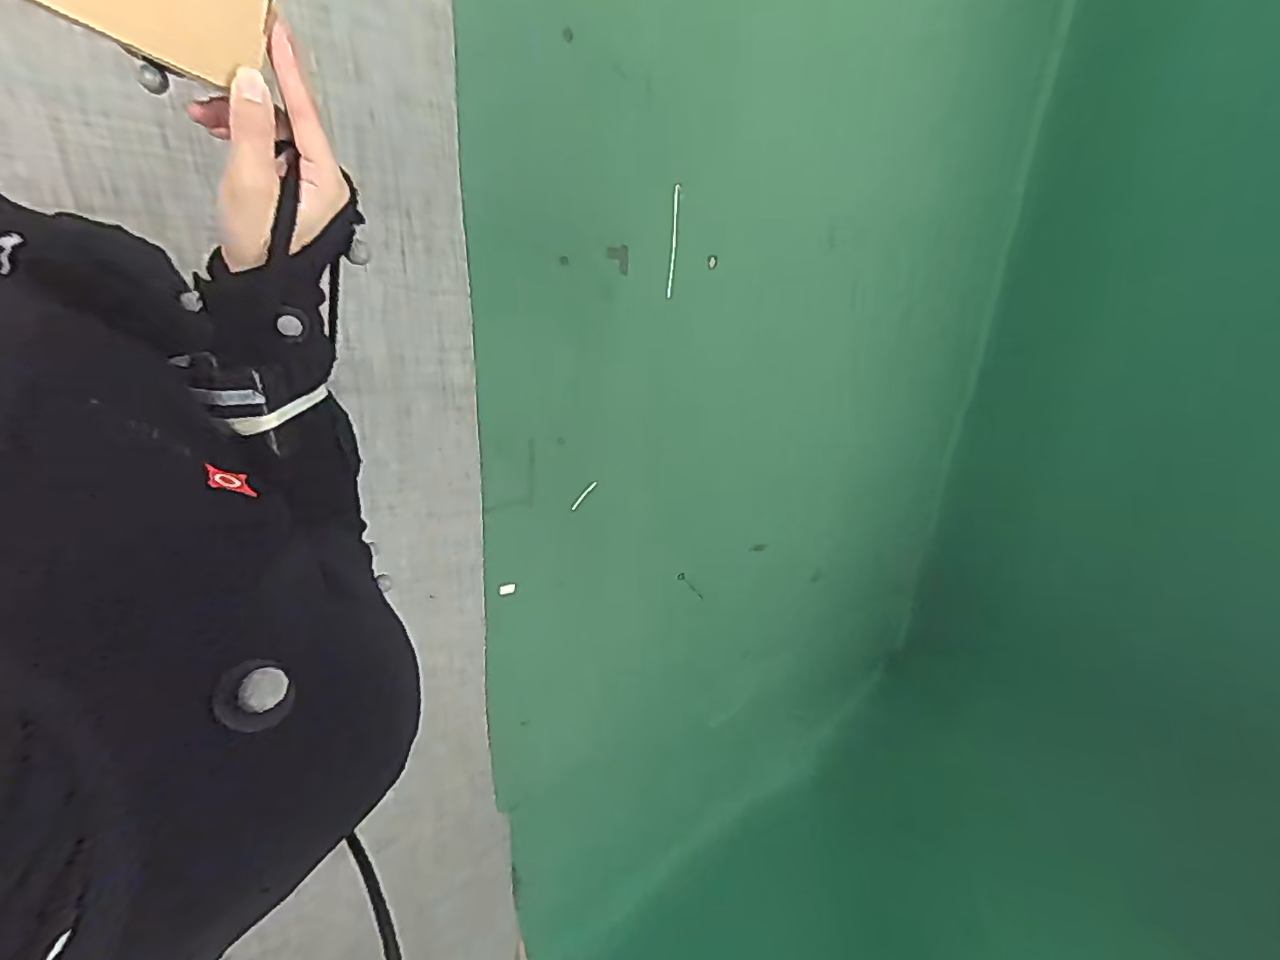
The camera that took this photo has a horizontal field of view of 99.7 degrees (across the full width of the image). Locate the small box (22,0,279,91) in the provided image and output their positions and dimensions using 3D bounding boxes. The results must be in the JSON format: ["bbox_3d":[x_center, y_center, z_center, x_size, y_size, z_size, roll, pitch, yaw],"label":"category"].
[{"bbox_3d":[-0.273,-0.311,0.244,0.179,0.176,0.168,3,117,-46],"label":"small box"}]
